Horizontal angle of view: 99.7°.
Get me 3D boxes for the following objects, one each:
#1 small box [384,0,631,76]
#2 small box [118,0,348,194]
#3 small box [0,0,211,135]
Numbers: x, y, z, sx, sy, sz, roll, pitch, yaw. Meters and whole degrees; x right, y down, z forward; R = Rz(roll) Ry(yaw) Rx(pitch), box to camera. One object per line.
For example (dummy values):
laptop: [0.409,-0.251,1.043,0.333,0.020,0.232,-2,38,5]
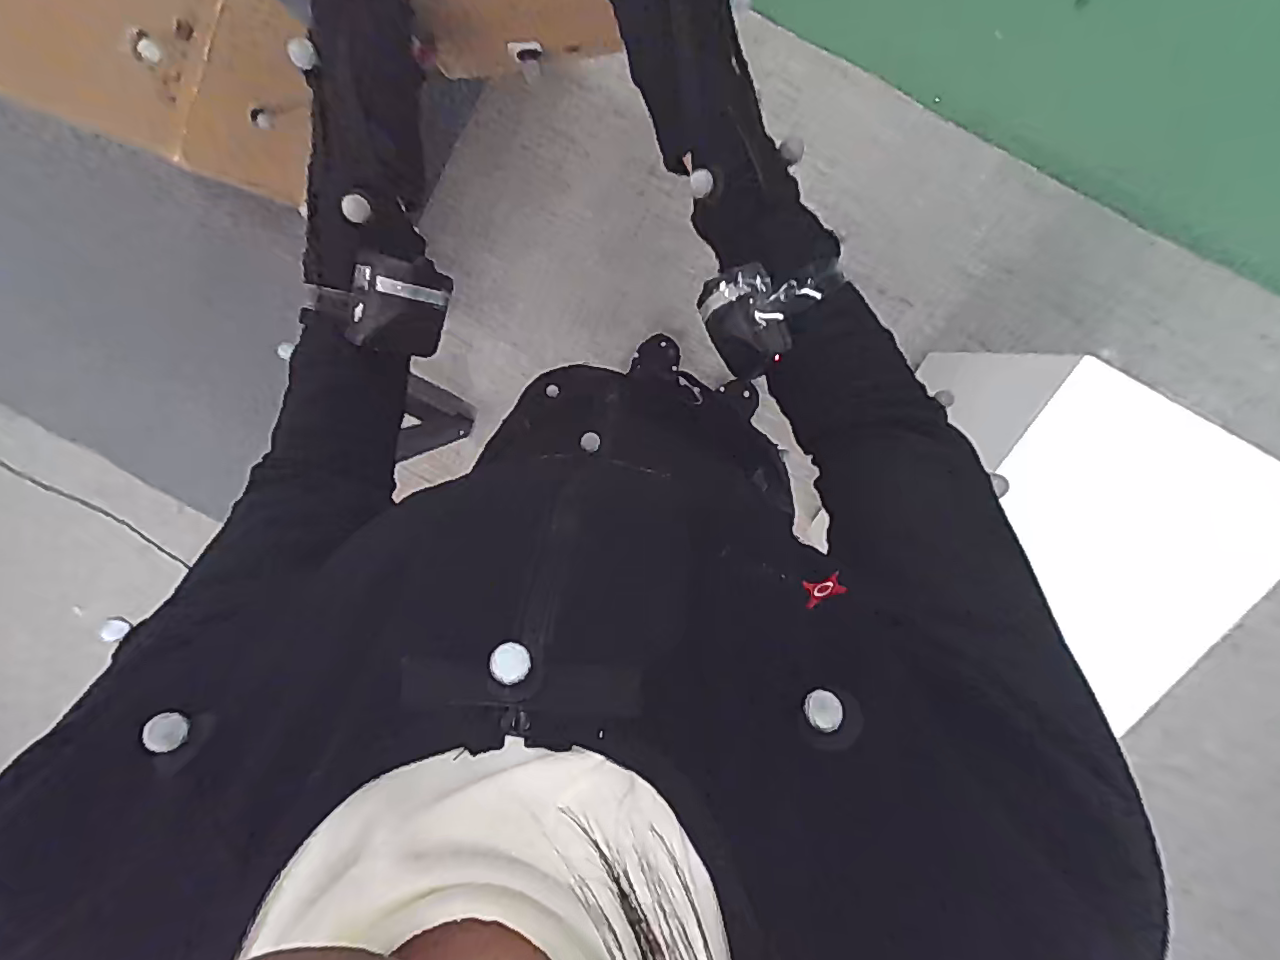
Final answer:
small box: [-0.099,-0.391,0.332,0.168,0.176,0.179,-10,111,3]
small box: [-0.444,-0.433,0.561,0.168,0.176,0.179,32,107,1]
small box: [-0.479,-0.399,0.403,0.179,0.176,0.168,28,105,4]
